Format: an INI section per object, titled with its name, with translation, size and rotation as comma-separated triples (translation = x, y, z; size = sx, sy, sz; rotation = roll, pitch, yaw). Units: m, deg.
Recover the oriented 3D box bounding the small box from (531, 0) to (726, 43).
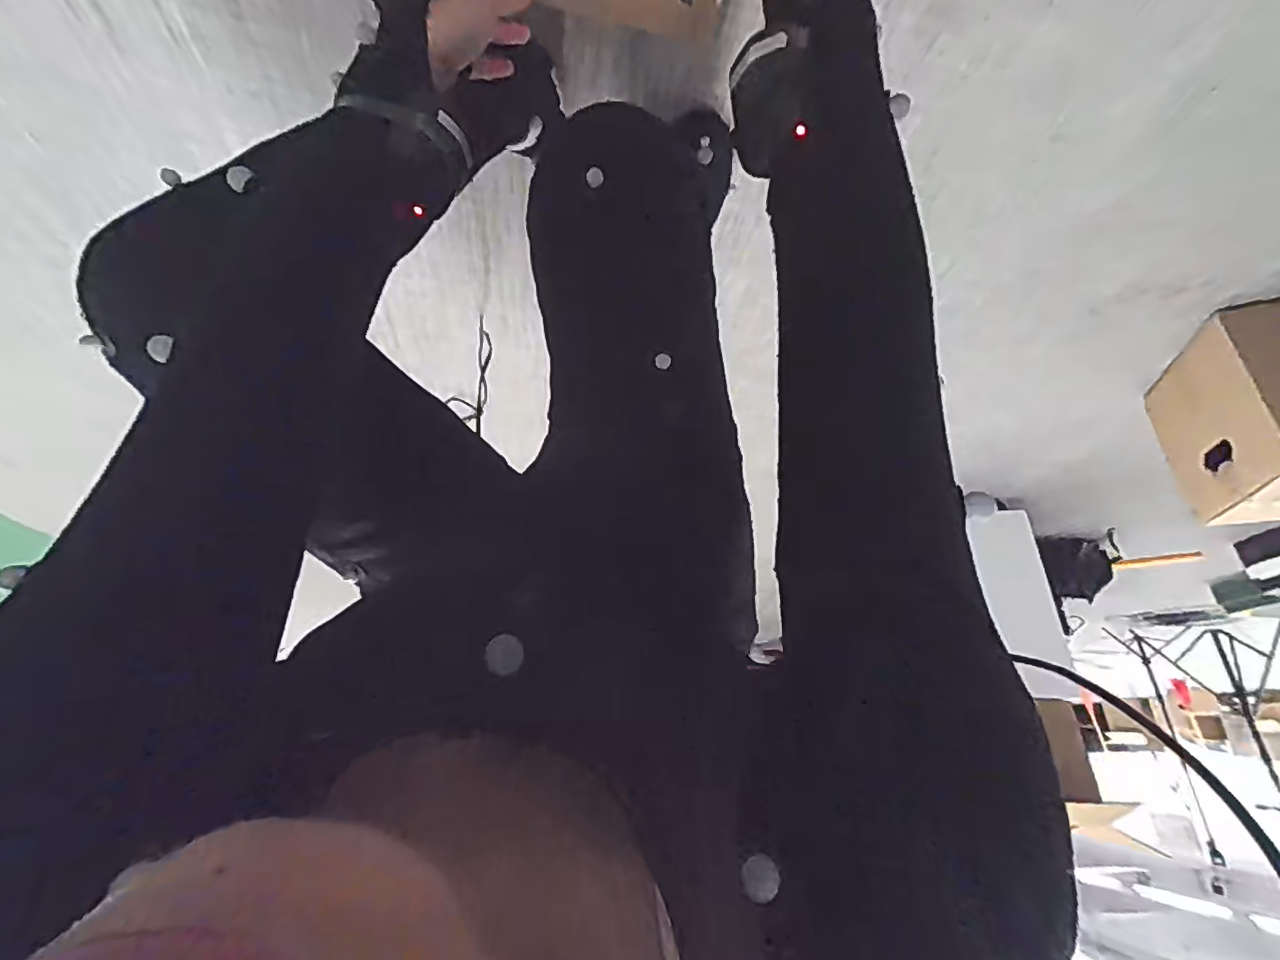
[small box]
translation = -0.001, -0.507, 0.435
size = 0.179, 0.176, 0.168
rotation = 6, 154, -9
